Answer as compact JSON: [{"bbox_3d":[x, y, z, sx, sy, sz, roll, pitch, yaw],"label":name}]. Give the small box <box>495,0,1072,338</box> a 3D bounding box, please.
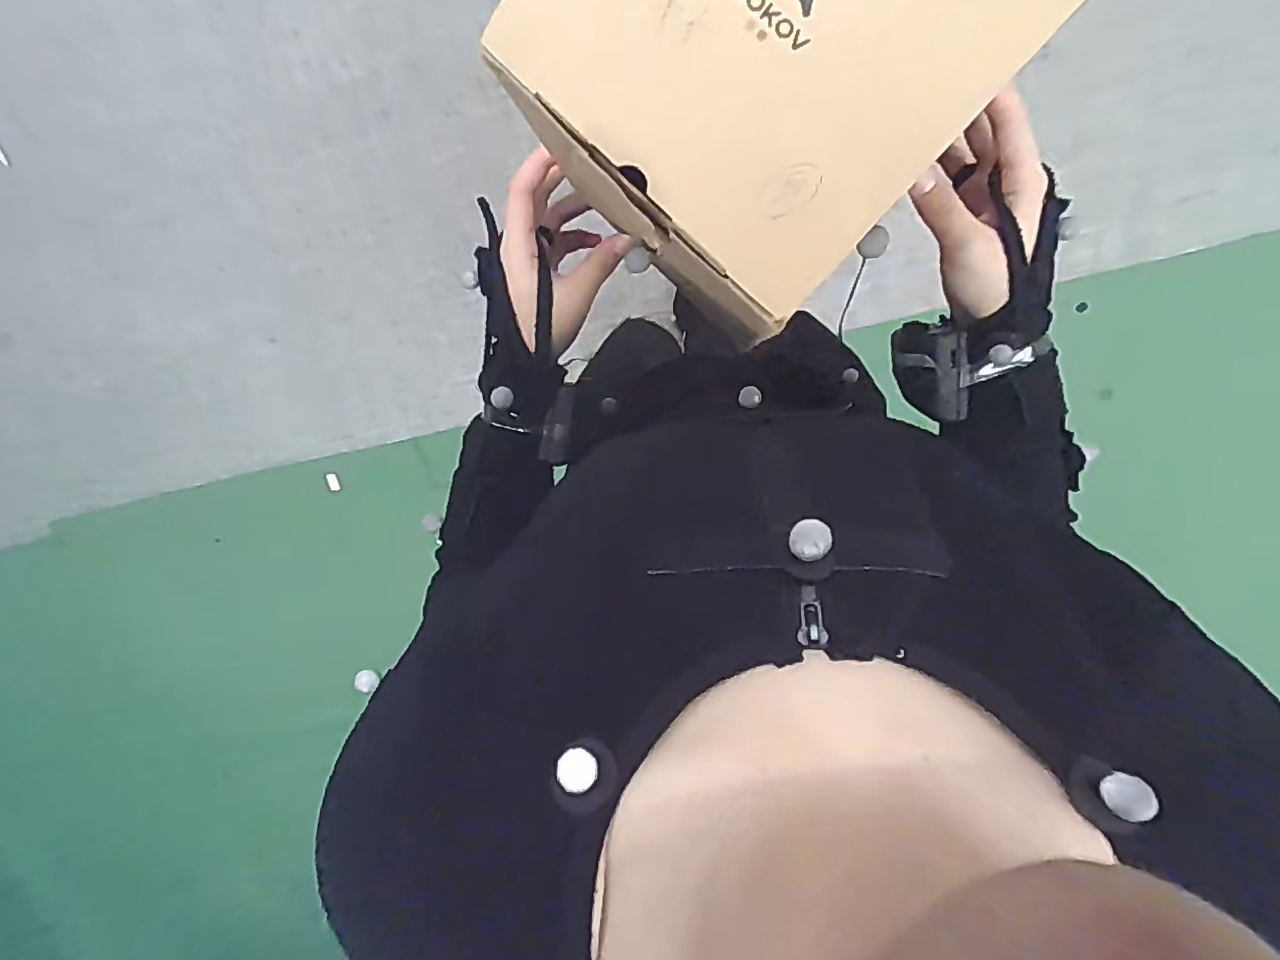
[{"bbox_3d":[0.063,-0.195,0.288,0.168,0.176,0.179,42,102,-2],"label":"small box"}]
